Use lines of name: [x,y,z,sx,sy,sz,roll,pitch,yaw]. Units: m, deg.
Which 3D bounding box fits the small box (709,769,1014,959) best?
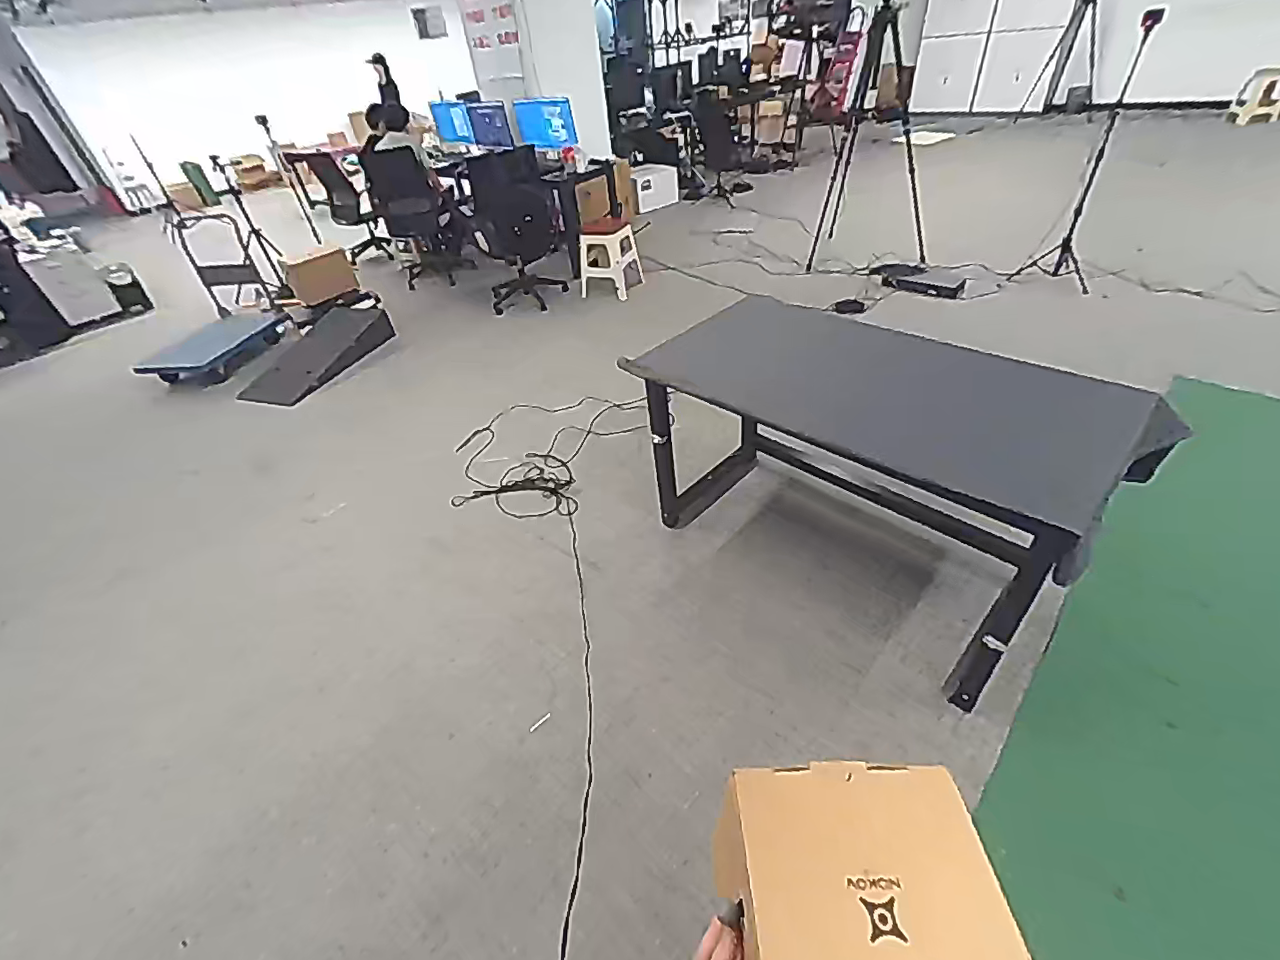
small box: [0.145,0.339,0.396,0.168,0.176,0.179,0,38,-1]
